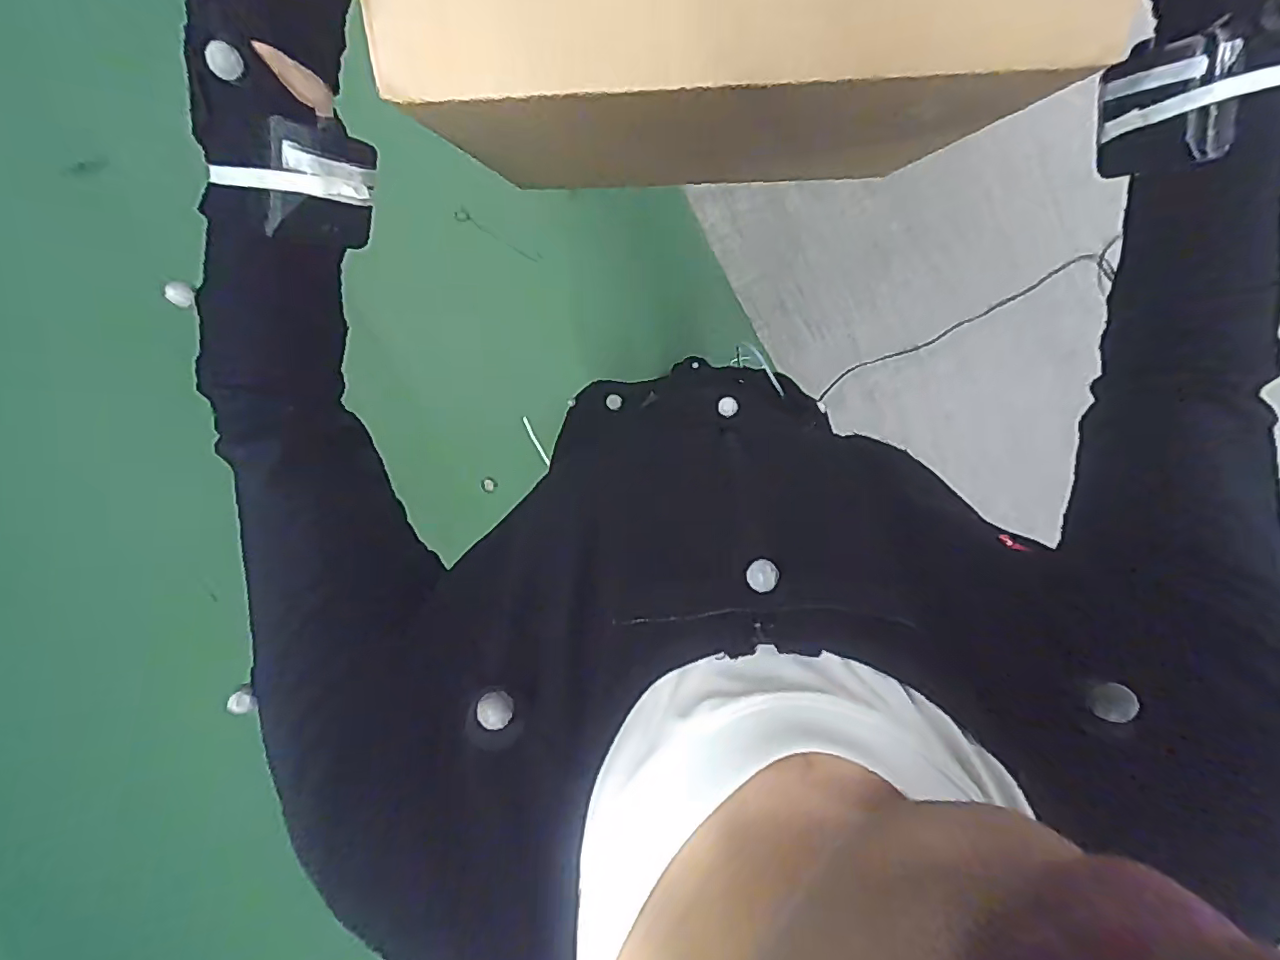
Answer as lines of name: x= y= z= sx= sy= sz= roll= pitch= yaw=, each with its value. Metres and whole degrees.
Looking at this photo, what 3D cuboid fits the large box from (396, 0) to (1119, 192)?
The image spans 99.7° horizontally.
large box: x=0.060 y=-0.420 z=0.401 sx=0.408 sy=0.320 sz=0.320 roll=-1 pitch=110 yaw=3
